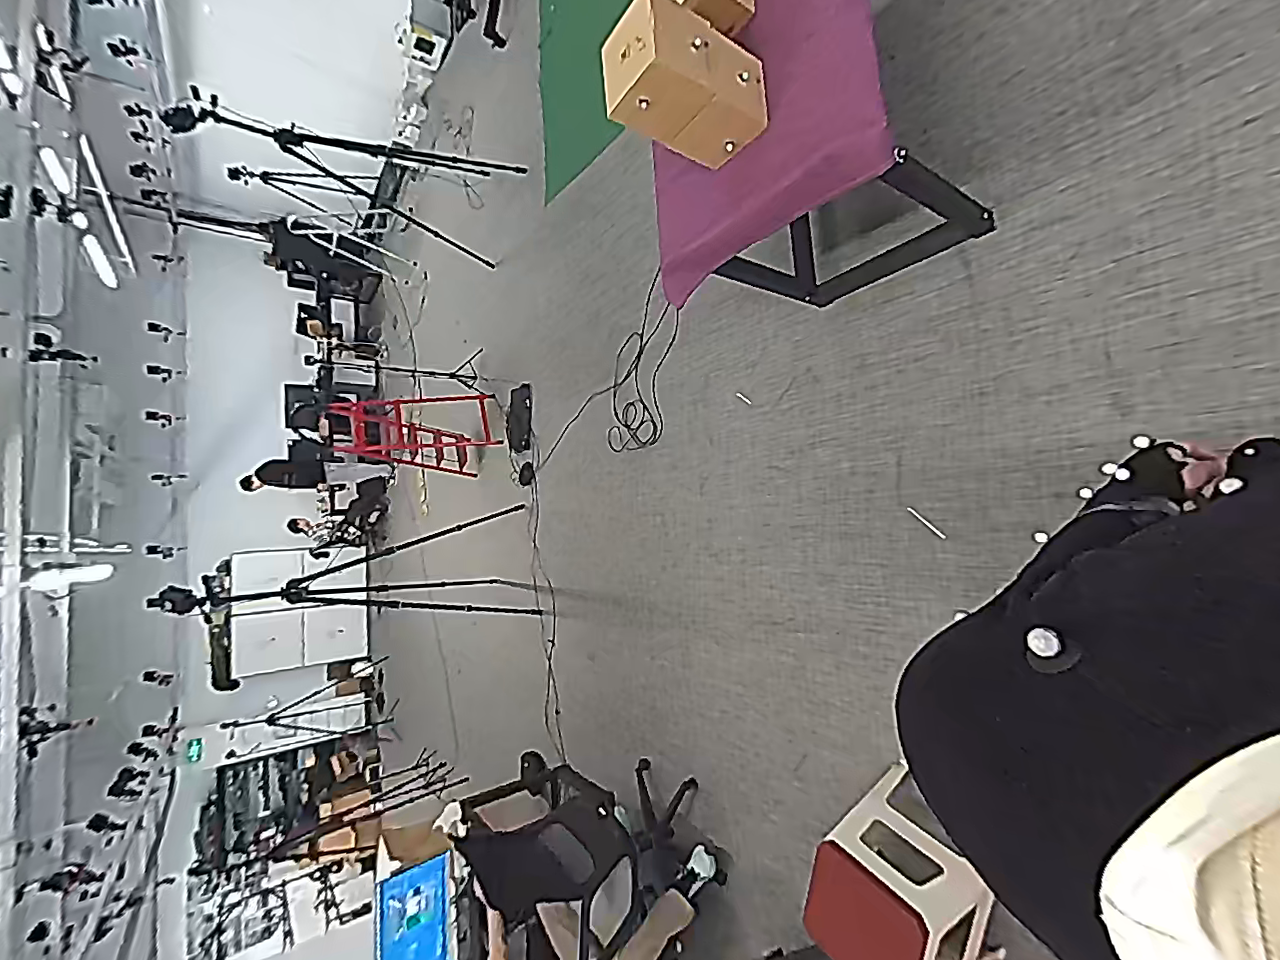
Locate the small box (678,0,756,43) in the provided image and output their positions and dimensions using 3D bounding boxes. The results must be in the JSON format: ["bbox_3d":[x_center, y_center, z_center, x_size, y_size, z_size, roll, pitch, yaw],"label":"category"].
[{"bbox_3d":[0.155,-1.164,1.281,0.168,0.176,0.179,-13,81,53],"label":"small box"}]

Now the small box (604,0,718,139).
[{"bbox_3d":[0.043,-0.877,1.155,0.179,0.176,0.168,-13,81,52],"label":"small box"}]

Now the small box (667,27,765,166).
[{"bbox_3d":[0.174,-0.875,1.255,0.179,0.176,0.168,-12,79,52],"label":"small box"}]
